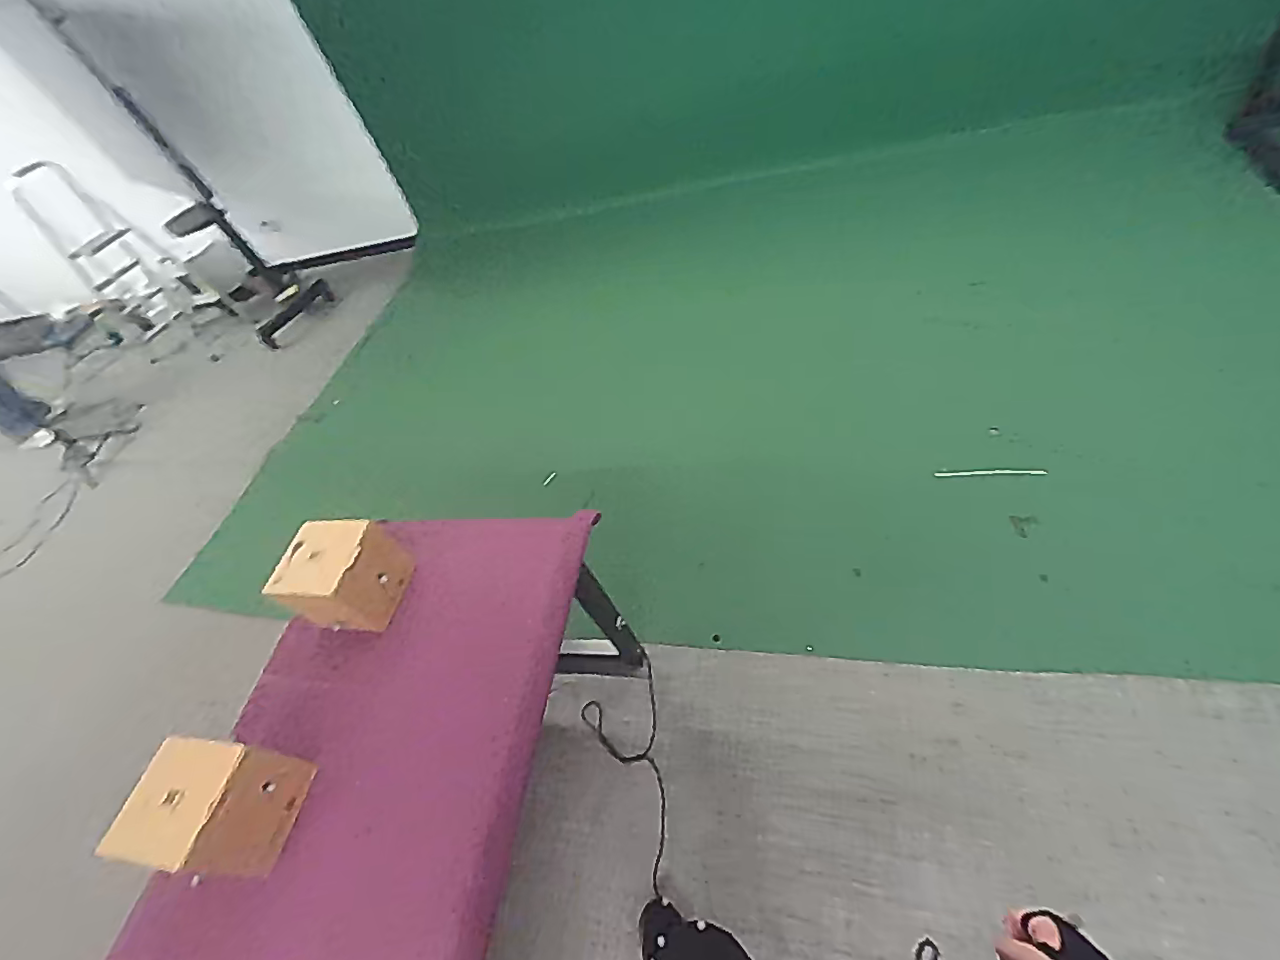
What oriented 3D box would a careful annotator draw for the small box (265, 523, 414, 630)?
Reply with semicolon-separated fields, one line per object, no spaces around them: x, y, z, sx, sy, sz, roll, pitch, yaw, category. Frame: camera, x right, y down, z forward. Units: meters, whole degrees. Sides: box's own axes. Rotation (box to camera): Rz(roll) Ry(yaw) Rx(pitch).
-0.611;0.203;1.127;0.179;0.176;0.168;-2;52;17;small box

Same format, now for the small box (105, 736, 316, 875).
-0.684;0.535;0.887;0.179;0.176;0.168;-3;51;17;small box
